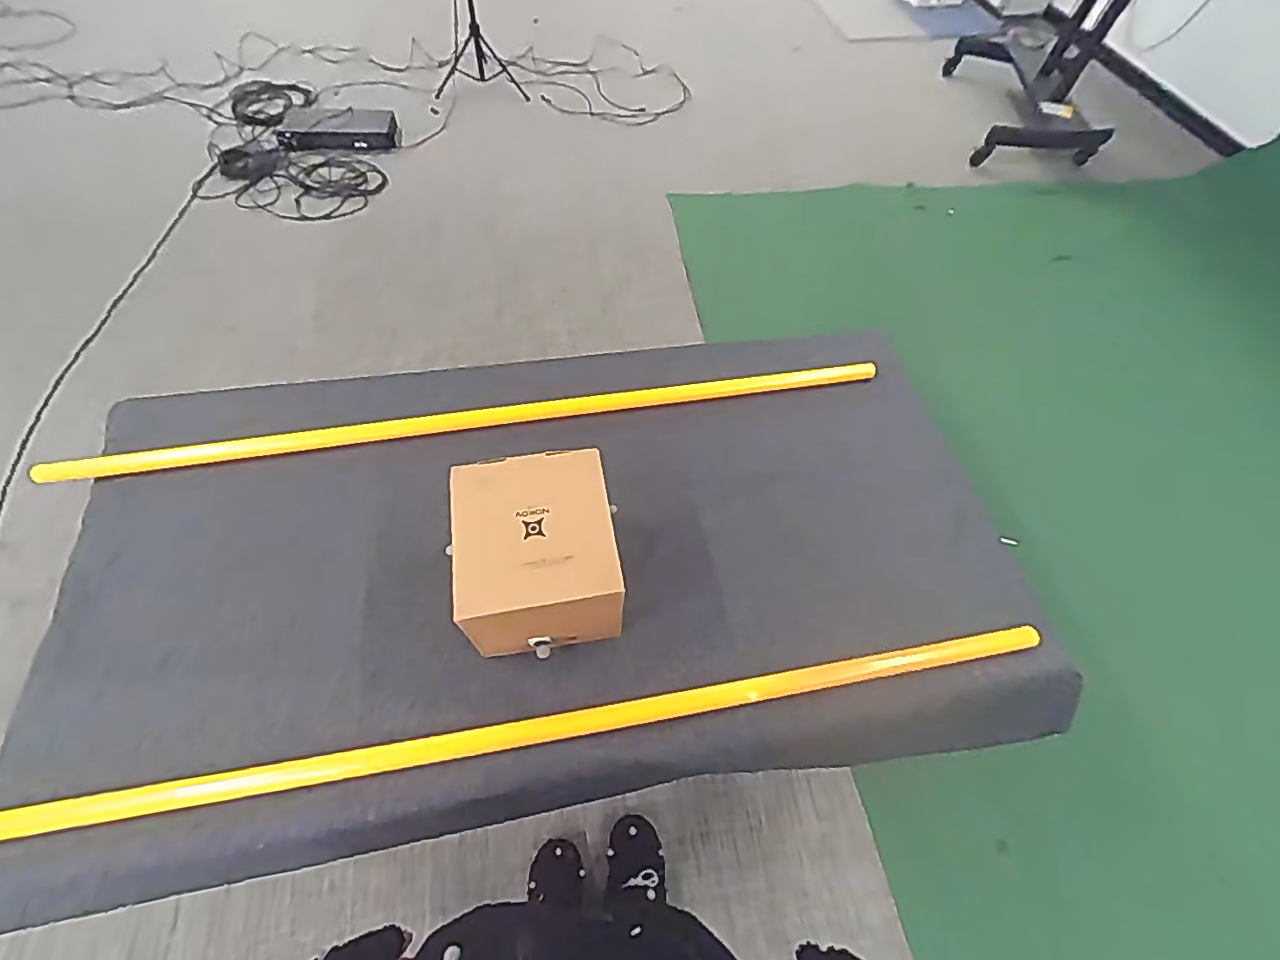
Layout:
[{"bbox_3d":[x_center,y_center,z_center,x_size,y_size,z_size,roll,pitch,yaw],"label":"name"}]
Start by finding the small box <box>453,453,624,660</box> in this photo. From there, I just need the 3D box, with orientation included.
[{"bbox_3d":[-0.116,0.093,0.634,0.168,0.176,0.179,-9,61,-8],"label":"small box"}]
